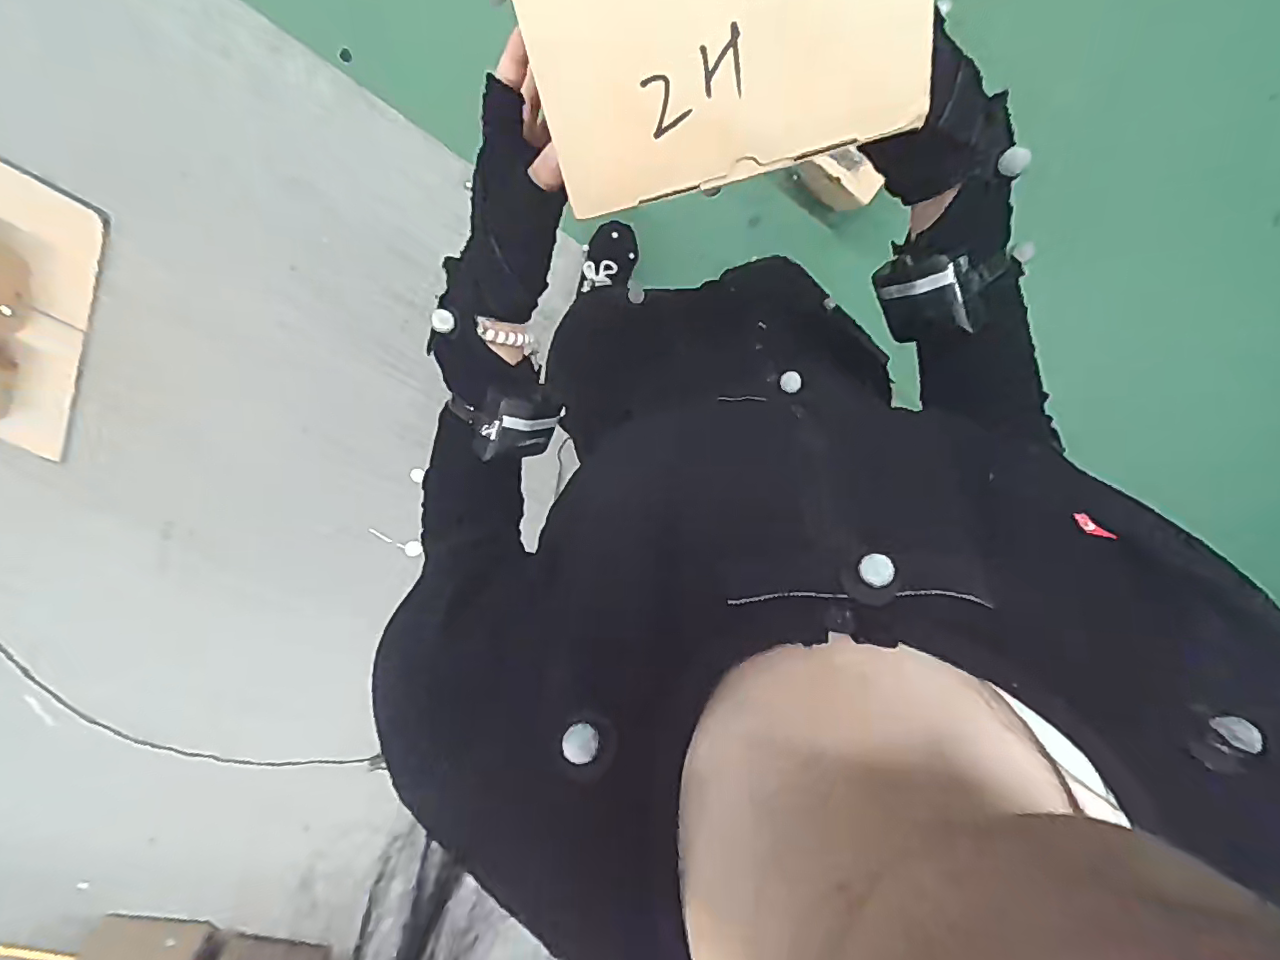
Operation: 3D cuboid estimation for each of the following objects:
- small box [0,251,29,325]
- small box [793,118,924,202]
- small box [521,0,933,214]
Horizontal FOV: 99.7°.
[{"bbox_3d":[-1.533,-0.445,1.190,0.179,0.176,0.168,26,110,-14],"label":"small box"},{"bbox_3d":[0.447,-0.720,1.149,0.168,0.176,0.179,32,108,-15],"label":"small box"},{"bbox_3d":[0.026,-0.255,0.272,0.168,0.176,0.179,-13,123,6],"label":"small box"}]
